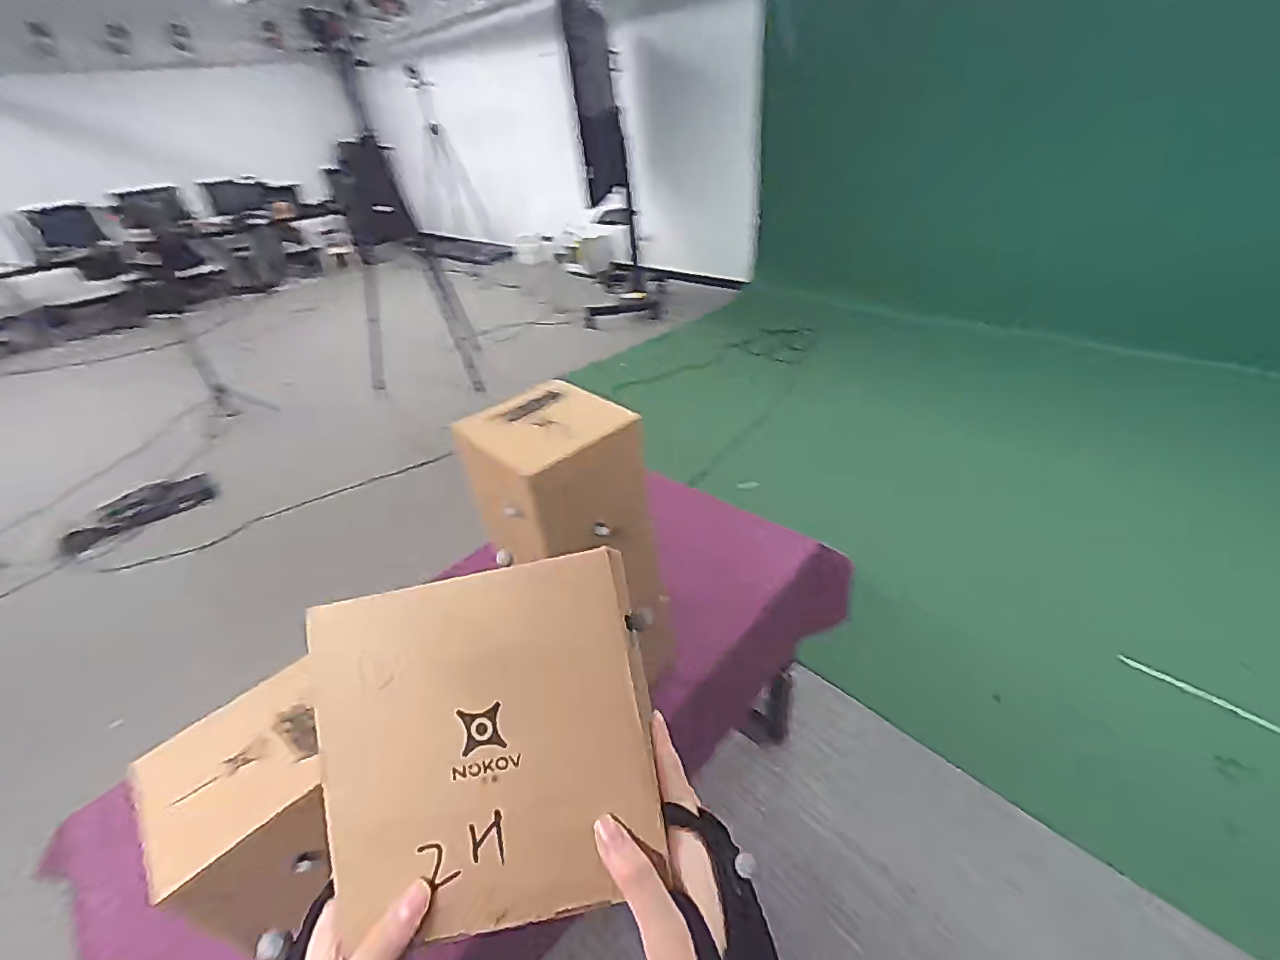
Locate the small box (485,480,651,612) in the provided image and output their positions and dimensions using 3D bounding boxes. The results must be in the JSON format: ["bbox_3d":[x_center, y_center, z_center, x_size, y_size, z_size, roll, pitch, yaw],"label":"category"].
[{"bbox_3d":[-0.101,0.132,0.807,0.179,0.176,0.168,27,47,37],"label":"small box"}]

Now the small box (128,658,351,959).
[{"bbox_3d":[-0.369,0.334,0.564,0.168,0.176,0.179,27,48,38],"label":"small box"}]

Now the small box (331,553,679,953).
[{"bbox_3d":[-0.073,0.150,0.362,0.168,0.179,0.176,-11,-8,0],"label":"small box"}]
